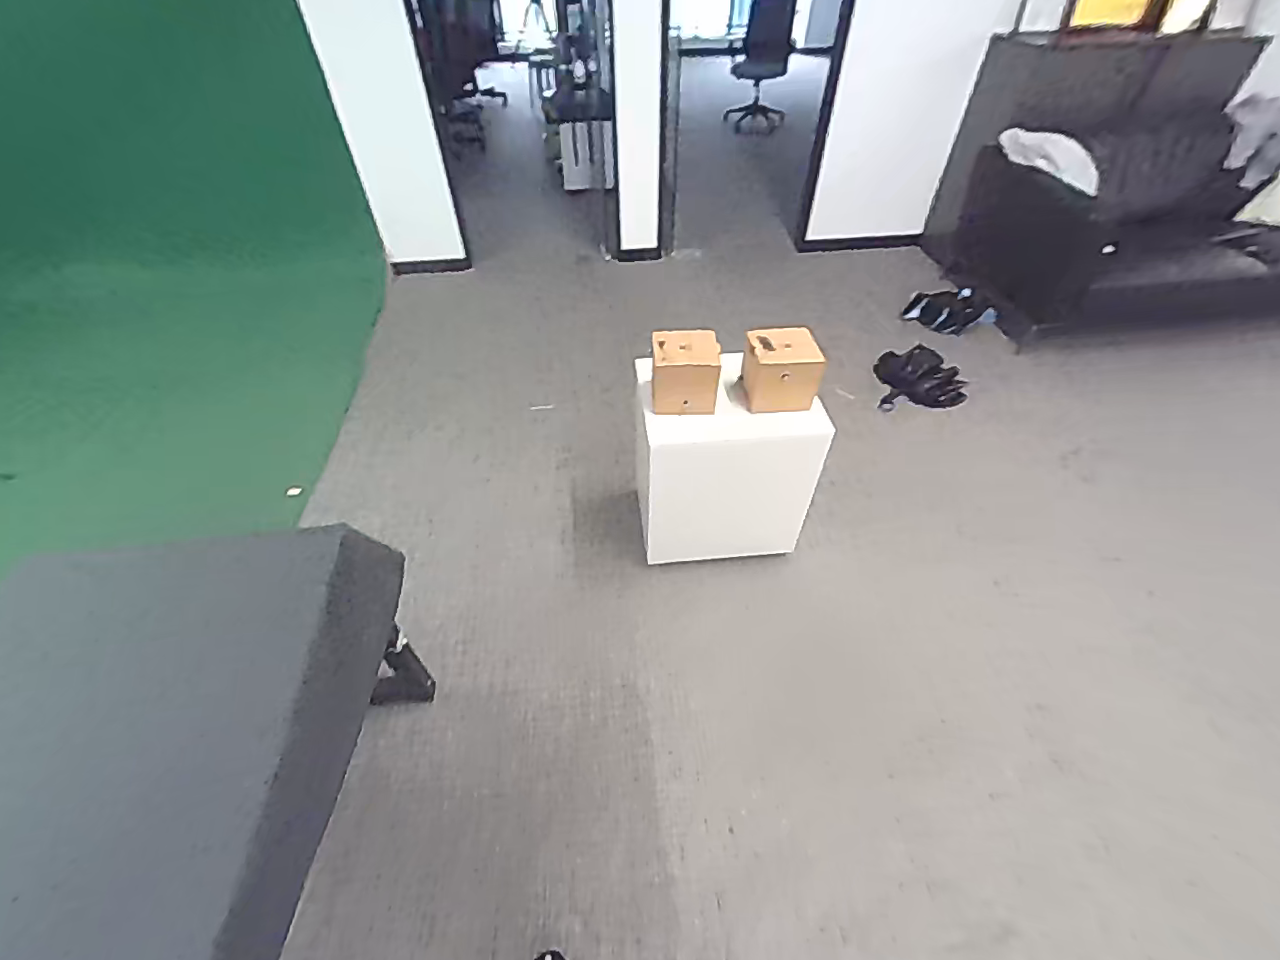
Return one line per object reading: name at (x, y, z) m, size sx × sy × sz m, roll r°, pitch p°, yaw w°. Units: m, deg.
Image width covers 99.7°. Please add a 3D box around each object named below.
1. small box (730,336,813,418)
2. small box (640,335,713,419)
small box at (0.359, -0.288, 1.523) m, size 0.179 × 0.176 × 0.168 m, roll -3°, pitch 46°, yaw -6°
small box at (0.095, -0.282, 1.503) m, size 0.179 × 0.176 × 0.168 m, roll 1°, pitch 45°, yaw -4°
